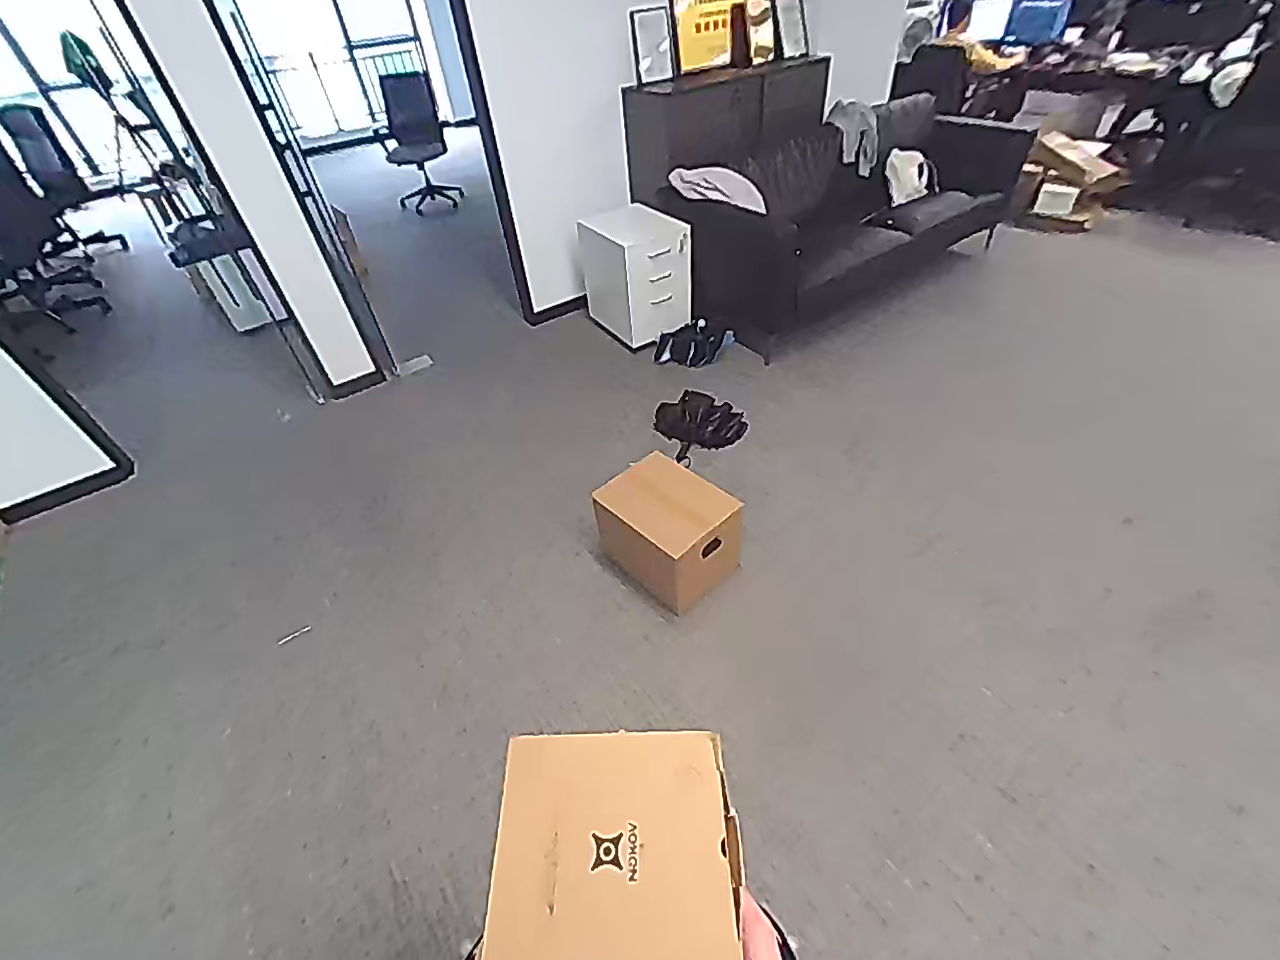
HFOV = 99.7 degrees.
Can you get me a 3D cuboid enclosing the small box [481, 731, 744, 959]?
[{"bbox_3d":[-0.018,0.324,0.455,0.179,0.176,0.168,-3,47,1],"label":"small box"}]
